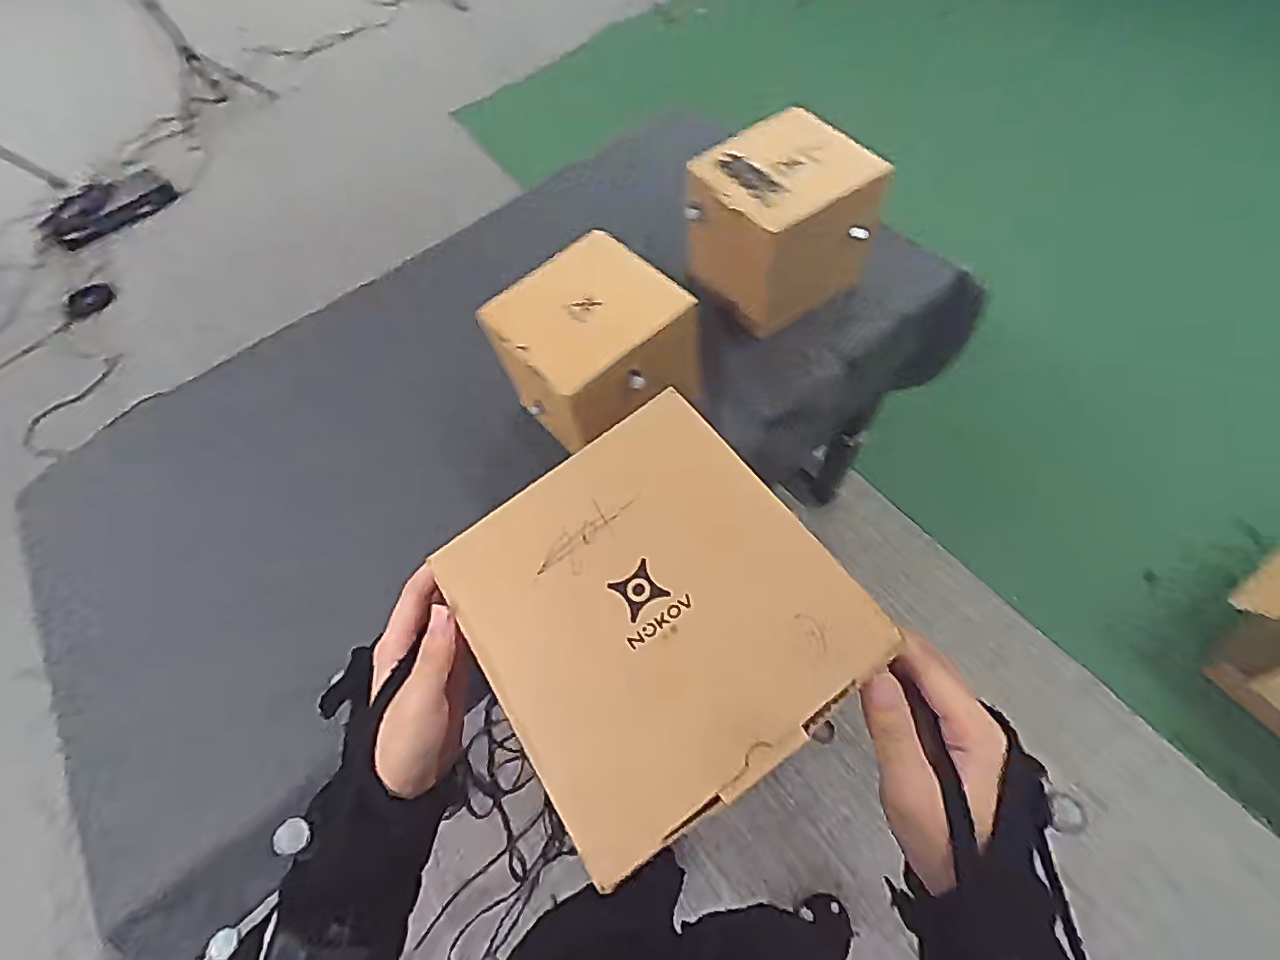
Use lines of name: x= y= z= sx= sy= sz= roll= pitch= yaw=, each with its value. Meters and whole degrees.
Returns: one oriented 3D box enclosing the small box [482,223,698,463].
small box: x=-0.048 y=-0.155 z=0.641 sx=0.179 sy=0.176 sz=0.168 roll=-40 pitch=66 yaw=-12
